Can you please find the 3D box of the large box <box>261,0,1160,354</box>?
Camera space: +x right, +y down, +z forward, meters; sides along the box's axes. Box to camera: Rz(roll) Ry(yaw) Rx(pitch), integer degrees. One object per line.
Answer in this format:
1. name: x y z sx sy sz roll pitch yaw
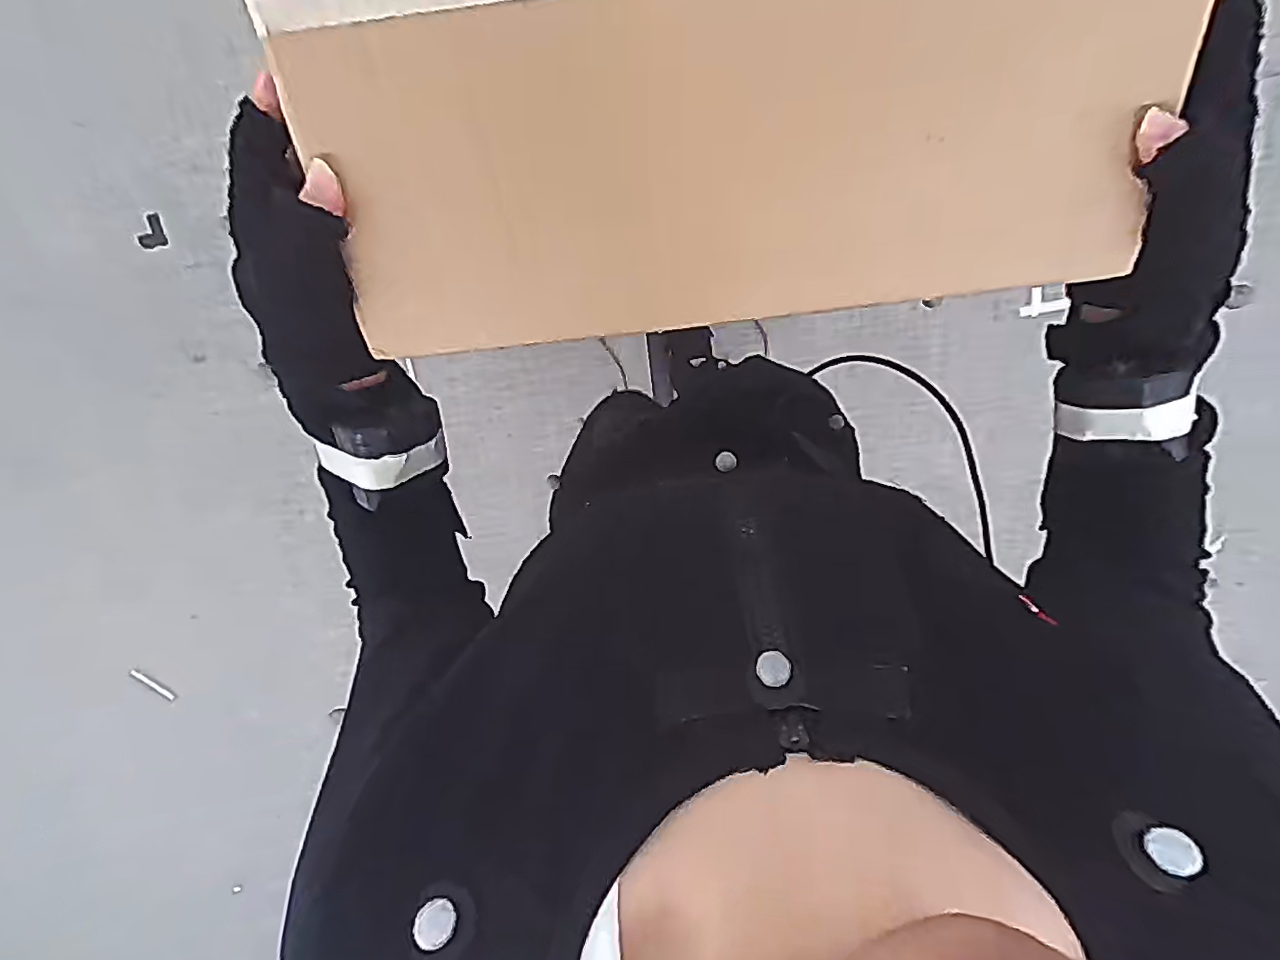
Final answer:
1. large box: 0.031 -0.300 0.360 0.408 0.320 0.320 -6 117 4
